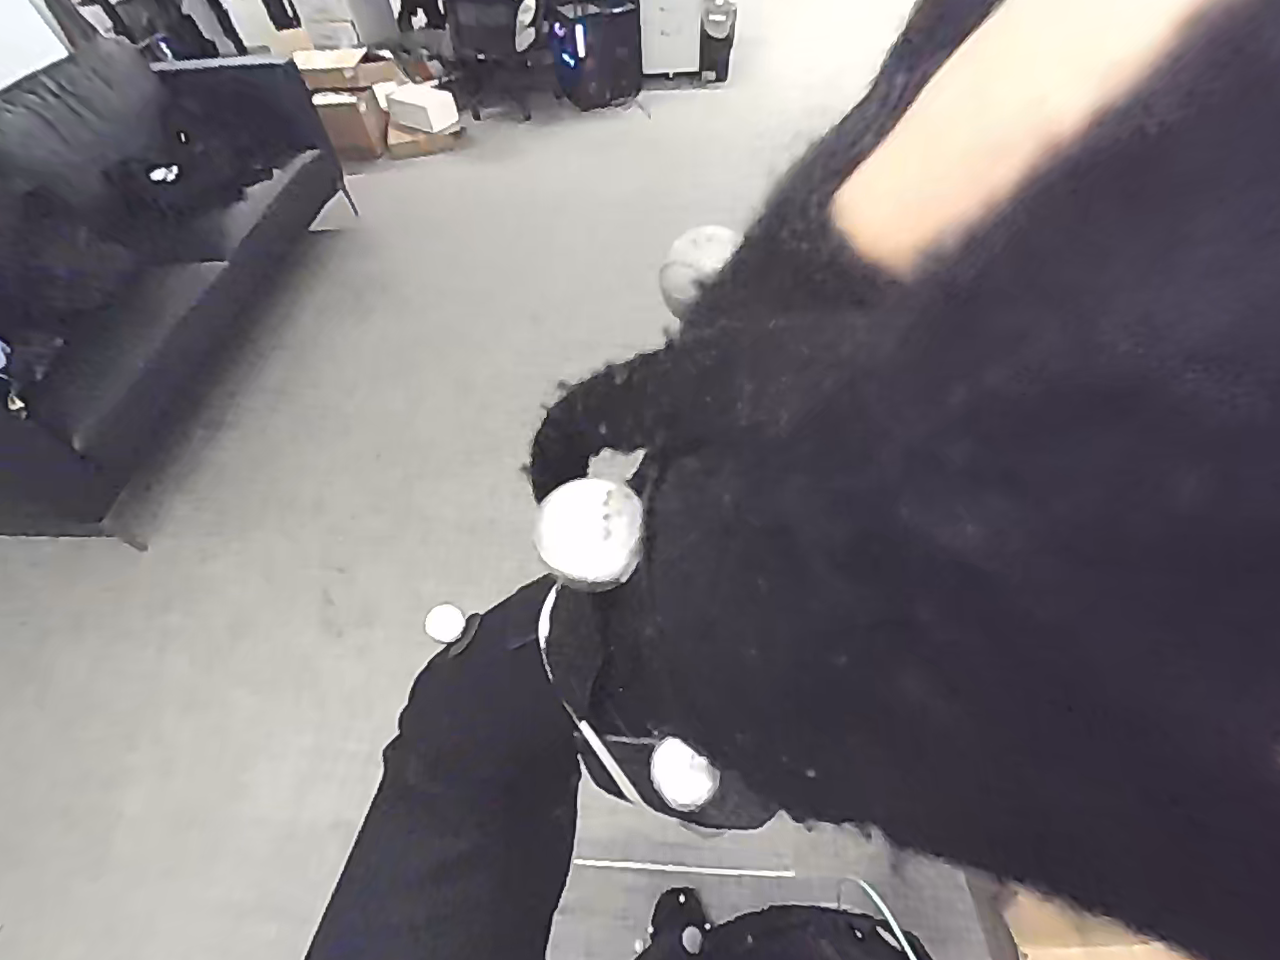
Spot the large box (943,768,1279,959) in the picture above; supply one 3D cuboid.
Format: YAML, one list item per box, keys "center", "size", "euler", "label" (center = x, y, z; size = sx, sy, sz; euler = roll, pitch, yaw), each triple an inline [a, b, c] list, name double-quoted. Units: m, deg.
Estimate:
- center: [0.581, 0.570, 0.607]
  size: [0.320, 0.408, 0.320]
  euler: [-18, 76, 18]
  label: "large box"
